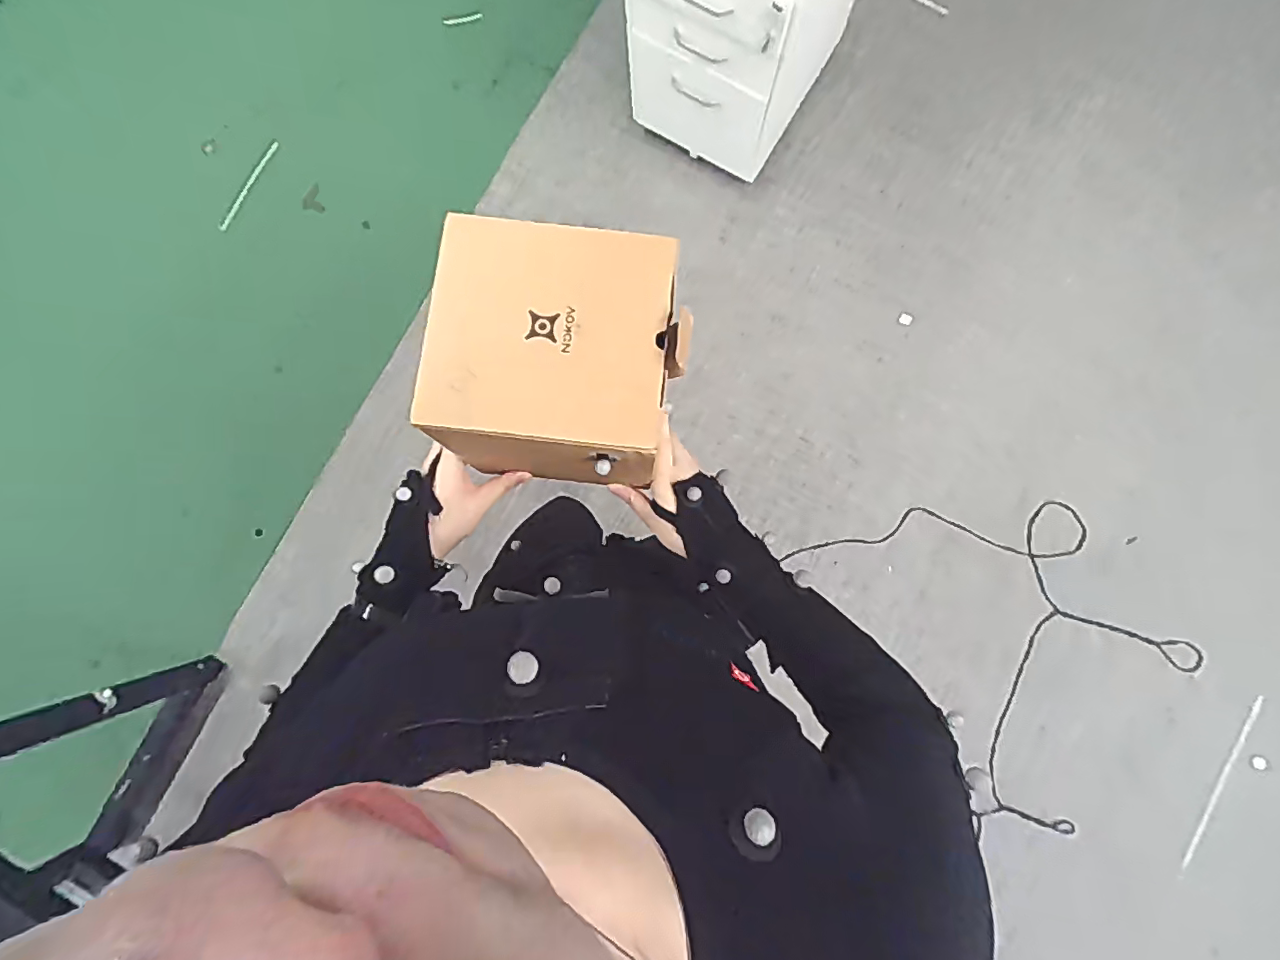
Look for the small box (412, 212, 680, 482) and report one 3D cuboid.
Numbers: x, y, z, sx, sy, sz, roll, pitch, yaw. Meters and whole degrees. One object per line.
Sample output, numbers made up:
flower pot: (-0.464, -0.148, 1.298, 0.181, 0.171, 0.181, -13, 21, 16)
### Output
small box: (-0.067, -0.099, 0.470, 0.179, 0.176, 0.168, 6, 79, -1)
